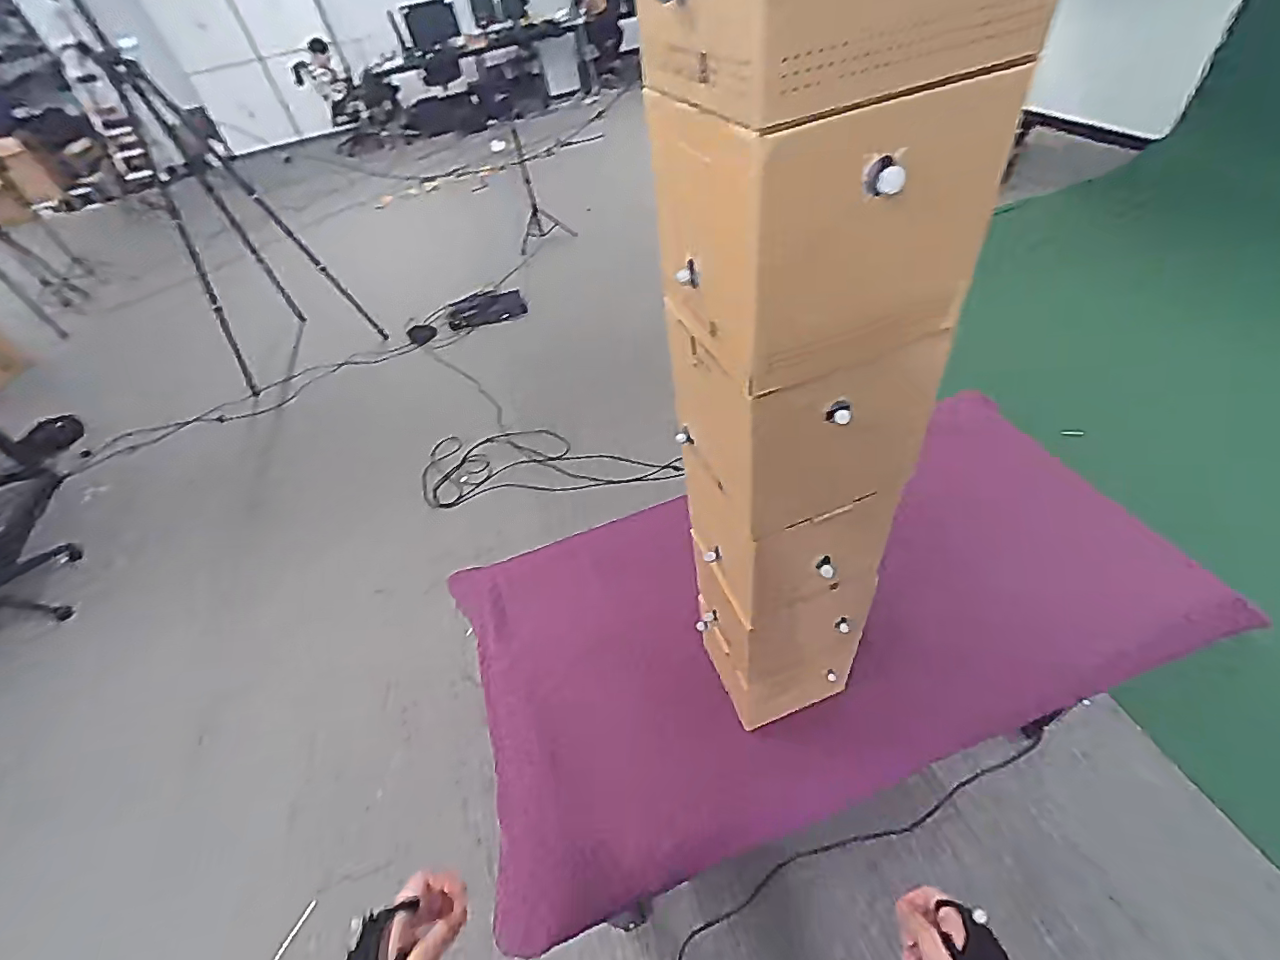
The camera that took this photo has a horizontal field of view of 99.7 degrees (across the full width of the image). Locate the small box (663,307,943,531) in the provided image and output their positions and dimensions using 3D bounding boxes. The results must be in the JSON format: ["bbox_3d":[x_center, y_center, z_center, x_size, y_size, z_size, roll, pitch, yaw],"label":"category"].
[{"bbox_3d":[0.139,-0.078,0.511,0.179,0.176,0.168,-19,45,-9],"label":"small box"}]

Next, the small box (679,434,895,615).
[{"bbox_3d":[0.159,0.033,0.629,0.168,0.176,0.179,-20,46,-9],"label":"small box"}]

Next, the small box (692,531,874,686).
[{"bbox_3d":[0.184,0.149,0.741,0.179,0.176,0.168,-19,46,-8],"label":"small box"}]

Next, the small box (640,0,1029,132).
[{"bbox_3d":[0.098,-0.309,0.283,0.179,0.176,0.168,-20,46,-8],"label":"small box"}]

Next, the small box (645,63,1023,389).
[{"bbox_3d":[0.118,-0.194,0.399,0.179,0.176,0.168,-20,46,-8],"label":"small box"}]
